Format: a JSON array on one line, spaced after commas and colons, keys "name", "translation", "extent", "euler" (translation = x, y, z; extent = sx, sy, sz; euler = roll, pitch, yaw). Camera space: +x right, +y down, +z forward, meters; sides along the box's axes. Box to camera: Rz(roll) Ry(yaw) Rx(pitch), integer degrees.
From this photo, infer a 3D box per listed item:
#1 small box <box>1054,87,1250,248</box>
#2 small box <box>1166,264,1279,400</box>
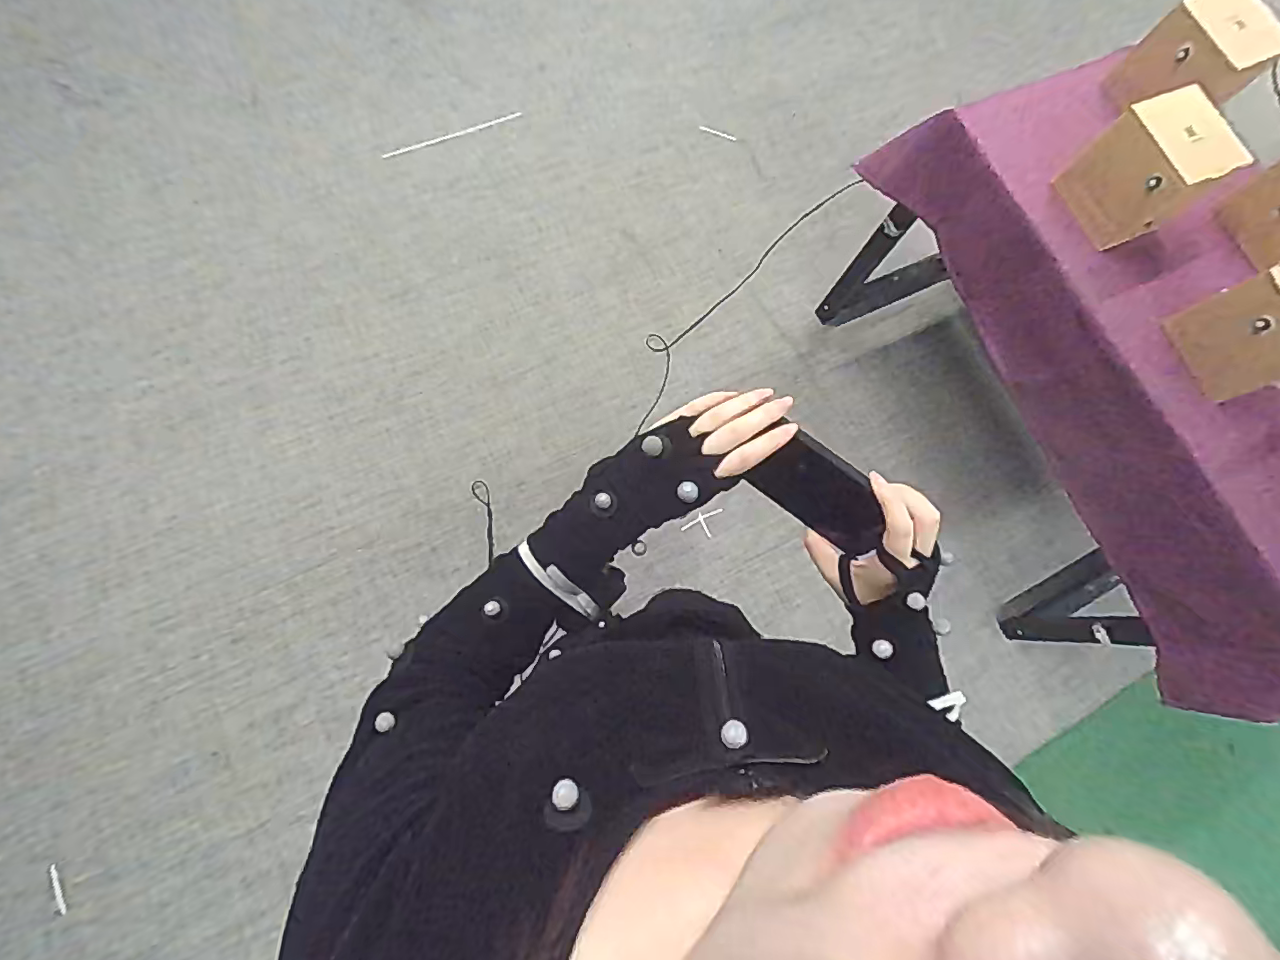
[{"name": "small box", "translation": [0.931, -0.572, 1.003], "extent": [0.168, 0.176, 0.179], "euler": [-23, 81, -12]}, {"name": "small box", "translation": [1.097, -0.266, 0.944], "extent": [0.168, 0.176, 0.179], "euler": [-21, 80, -11]}]
